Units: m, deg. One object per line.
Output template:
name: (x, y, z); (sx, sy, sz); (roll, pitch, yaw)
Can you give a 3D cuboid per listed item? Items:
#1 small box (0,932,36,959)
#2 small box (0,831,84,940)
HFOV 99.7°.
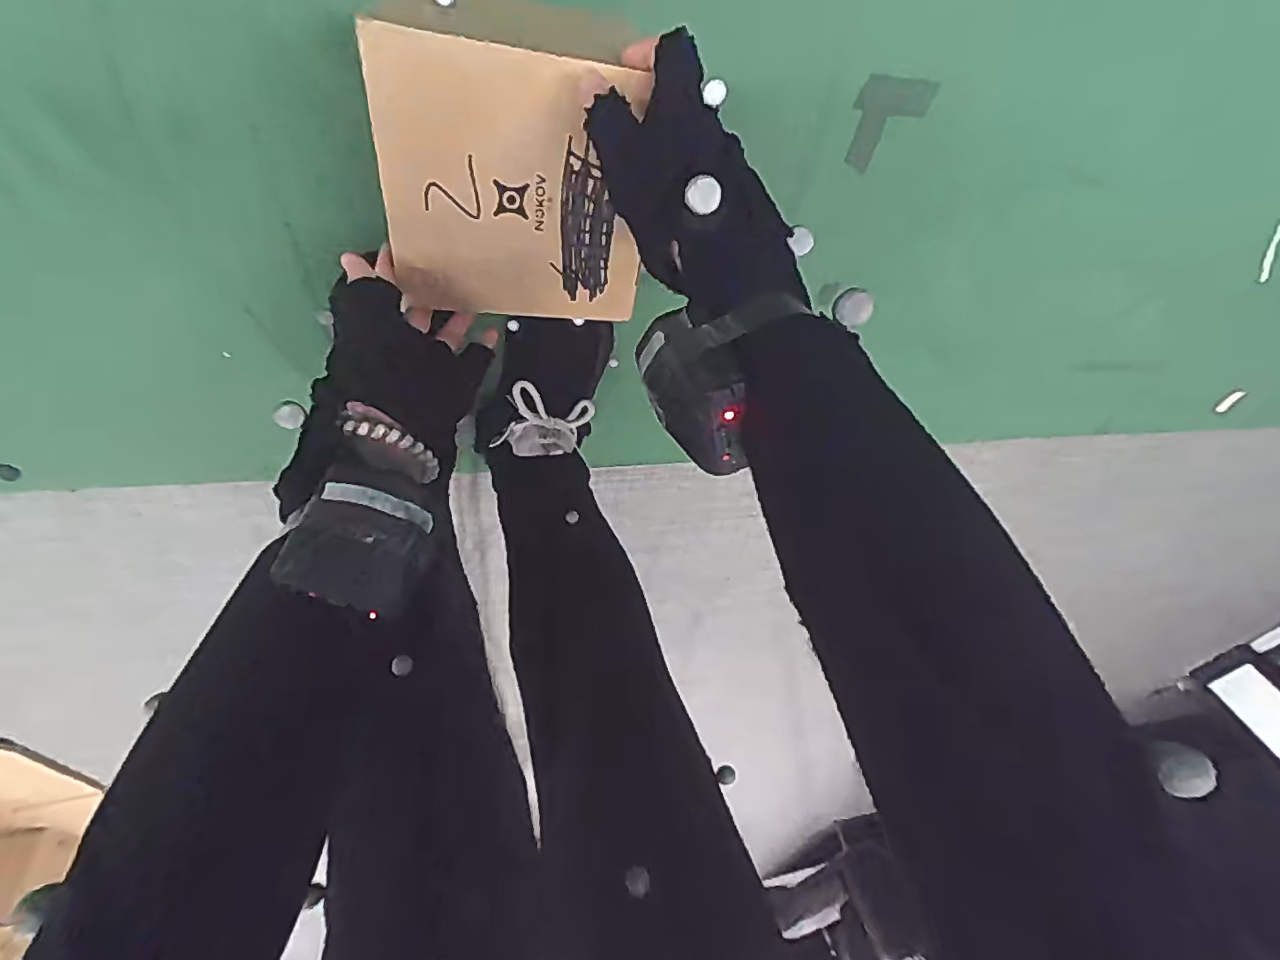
small box: (-1.323, 0.974, 1.010); (0.179, 0.176, 0.168); (-5, 136, -13)
small box: (-1.331, 0.860, 1.129); (0.179, 0.176, 0.168); (-7, 136, -11)
